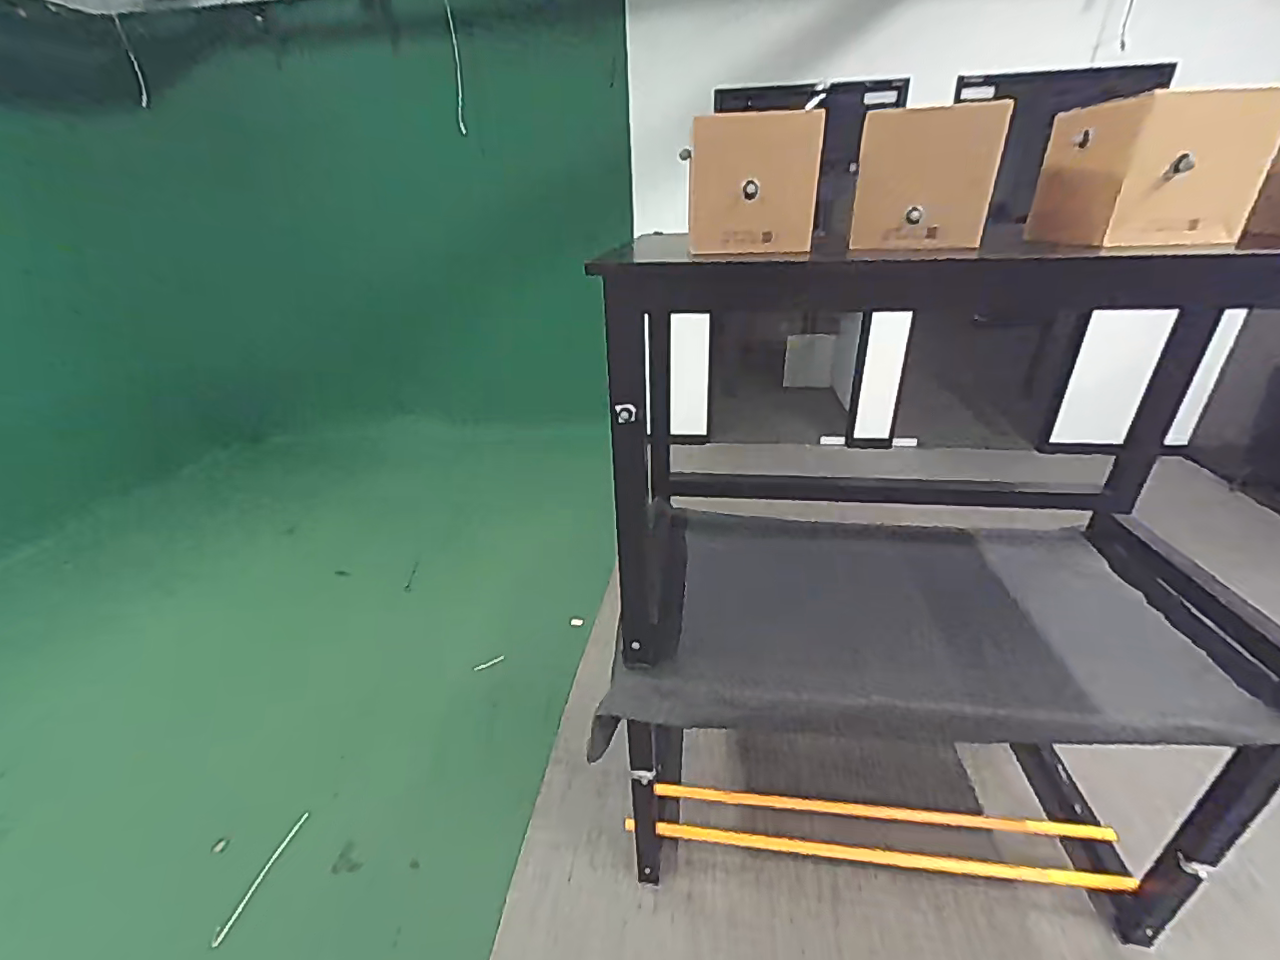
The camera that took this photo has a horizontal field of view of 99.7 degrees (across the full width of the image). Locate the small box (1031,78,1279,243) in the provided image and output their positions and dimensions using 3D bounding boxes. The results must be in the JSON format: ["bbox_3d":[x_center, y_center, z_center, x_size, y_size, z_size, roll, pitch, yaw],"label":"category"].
[{"bbox_3d":[0.667,-0.409,0.713,0.168,0.176,0.179,0,27,3],"label":"small box"}]

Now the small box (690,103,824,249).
[{"bbox_3d":[0.158,-0.432,0.787,0.168,0.176,0.179,1,27,4],"label":"small box"}]
